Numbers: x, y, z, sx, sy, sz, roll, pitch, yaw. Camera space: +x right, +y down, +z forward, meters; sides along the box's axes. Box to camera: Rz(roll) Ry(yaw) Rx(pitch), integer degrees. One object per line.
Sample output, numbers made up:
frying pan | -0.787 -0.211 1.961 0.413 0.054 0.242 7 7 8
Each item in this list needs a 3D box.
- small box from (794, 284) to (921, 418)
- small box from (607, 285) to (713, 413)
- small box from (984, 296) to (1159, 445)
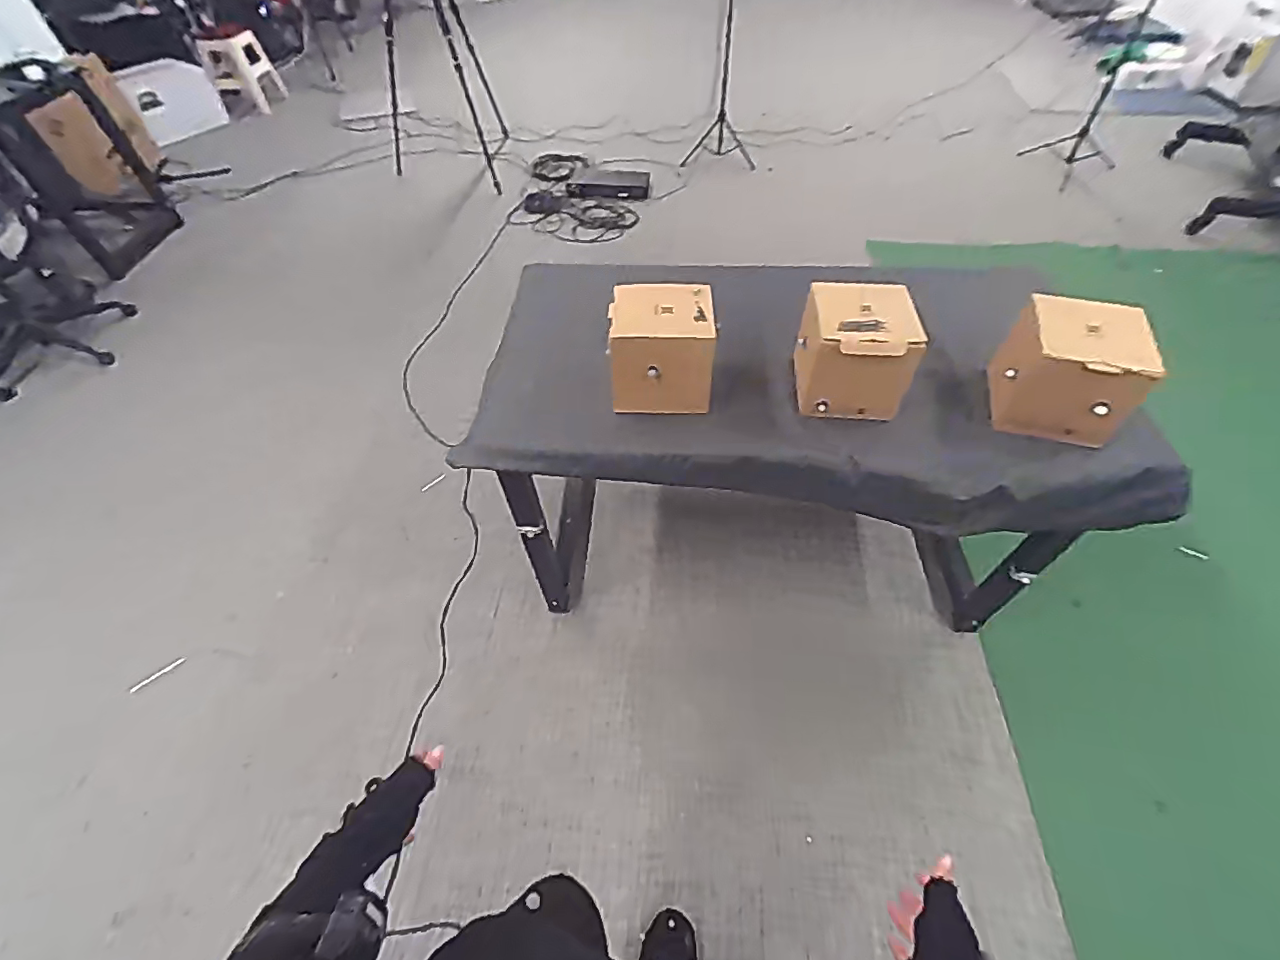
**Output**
small box | 0.378 -0.230 0.974 0.168 0.176 0.179 4 51 5
small box | 0.038 -0.237 0.990 0.179 0.176 0.168 0 50 2
small box | 0.719 -0.184 0.927 0.168 0.176 0.179 14 52 12
